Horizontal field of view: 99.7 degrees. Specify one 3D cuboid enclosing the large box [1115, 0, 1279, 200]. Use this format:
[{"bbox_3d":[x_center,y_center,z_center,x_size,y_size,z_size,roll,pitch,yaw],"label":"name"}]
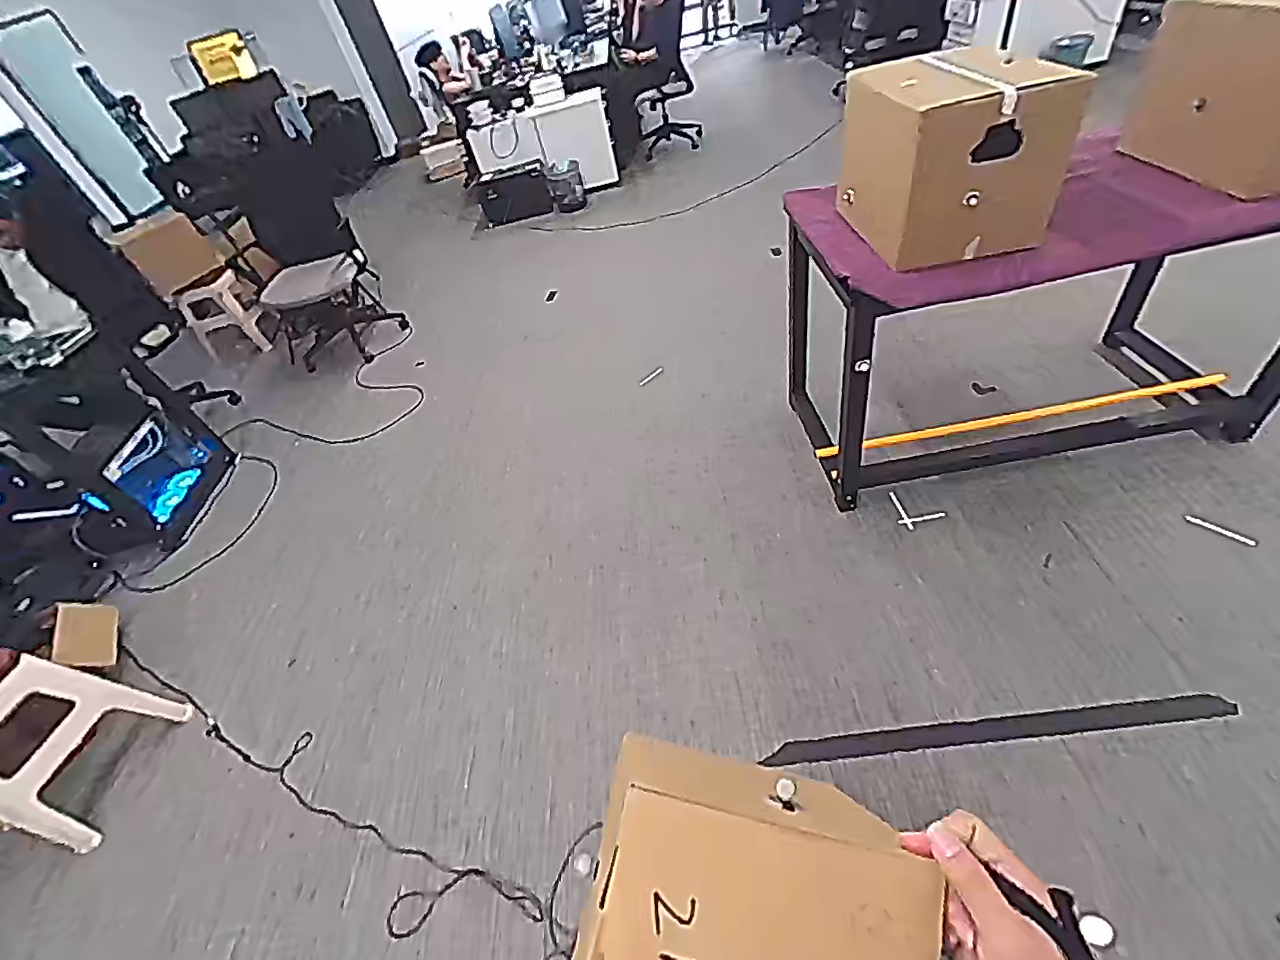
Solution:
[{"bbox_3d":[1.351,-0.839,1.141,0.320,0.320,0.408,-11,43,5],"label":"large box"}]
